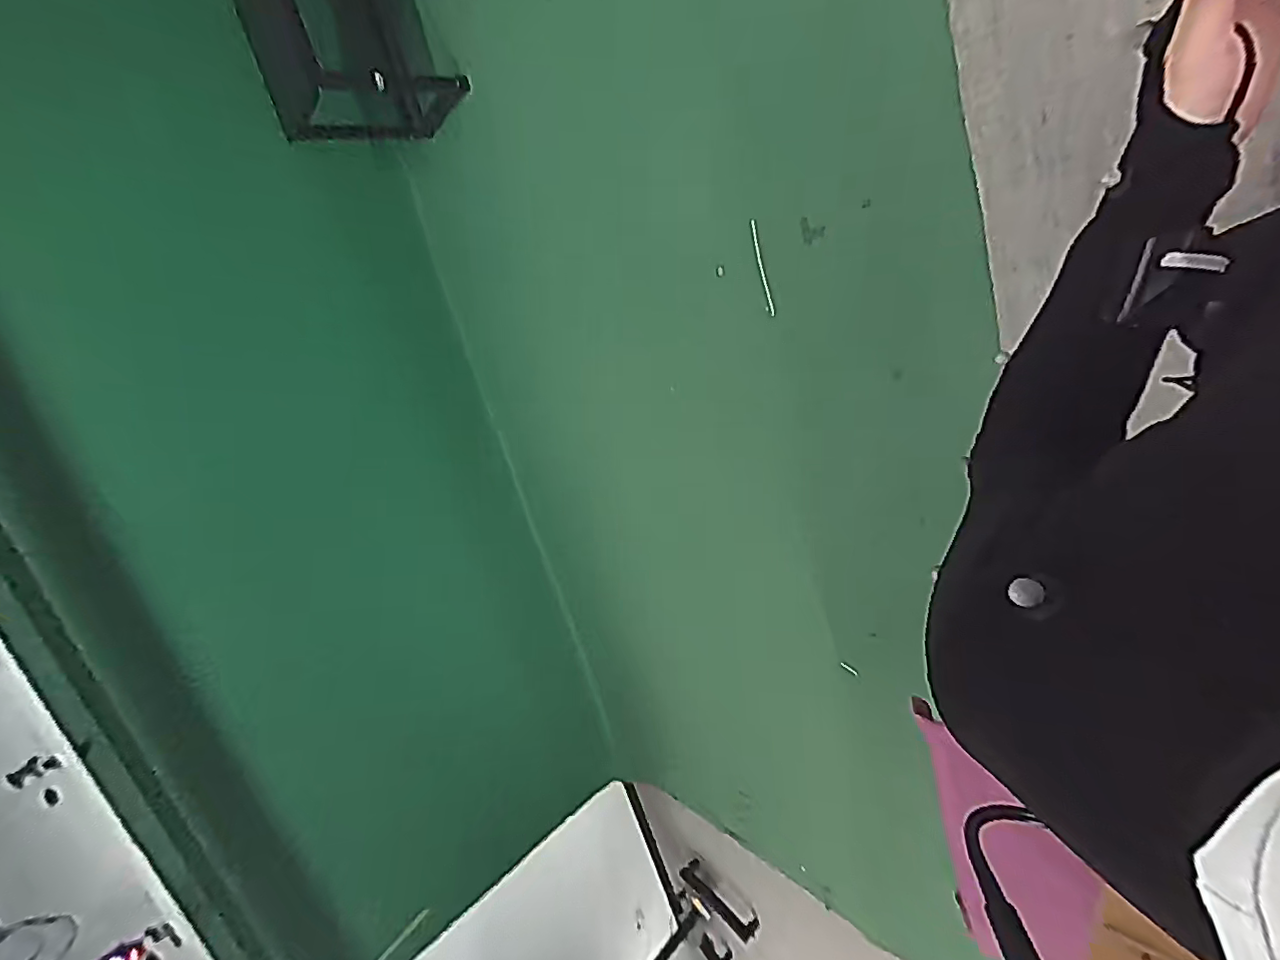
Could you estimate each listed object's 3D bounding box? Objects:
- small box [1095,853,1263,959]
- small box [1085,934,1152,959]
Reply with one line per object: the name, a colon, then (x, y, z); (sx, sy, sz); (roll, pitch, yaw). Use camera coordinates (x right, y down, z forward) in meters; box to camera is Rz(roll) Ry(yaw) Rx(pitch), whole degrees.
small box: (0.831, 0.733, 0.832); (0.168, 0.176, 0.179); (-5, 109, 51)
small box: (0.710, 0.789, 0.735); (0.168, 0.176, 0.179); (-2, 113, 51)
